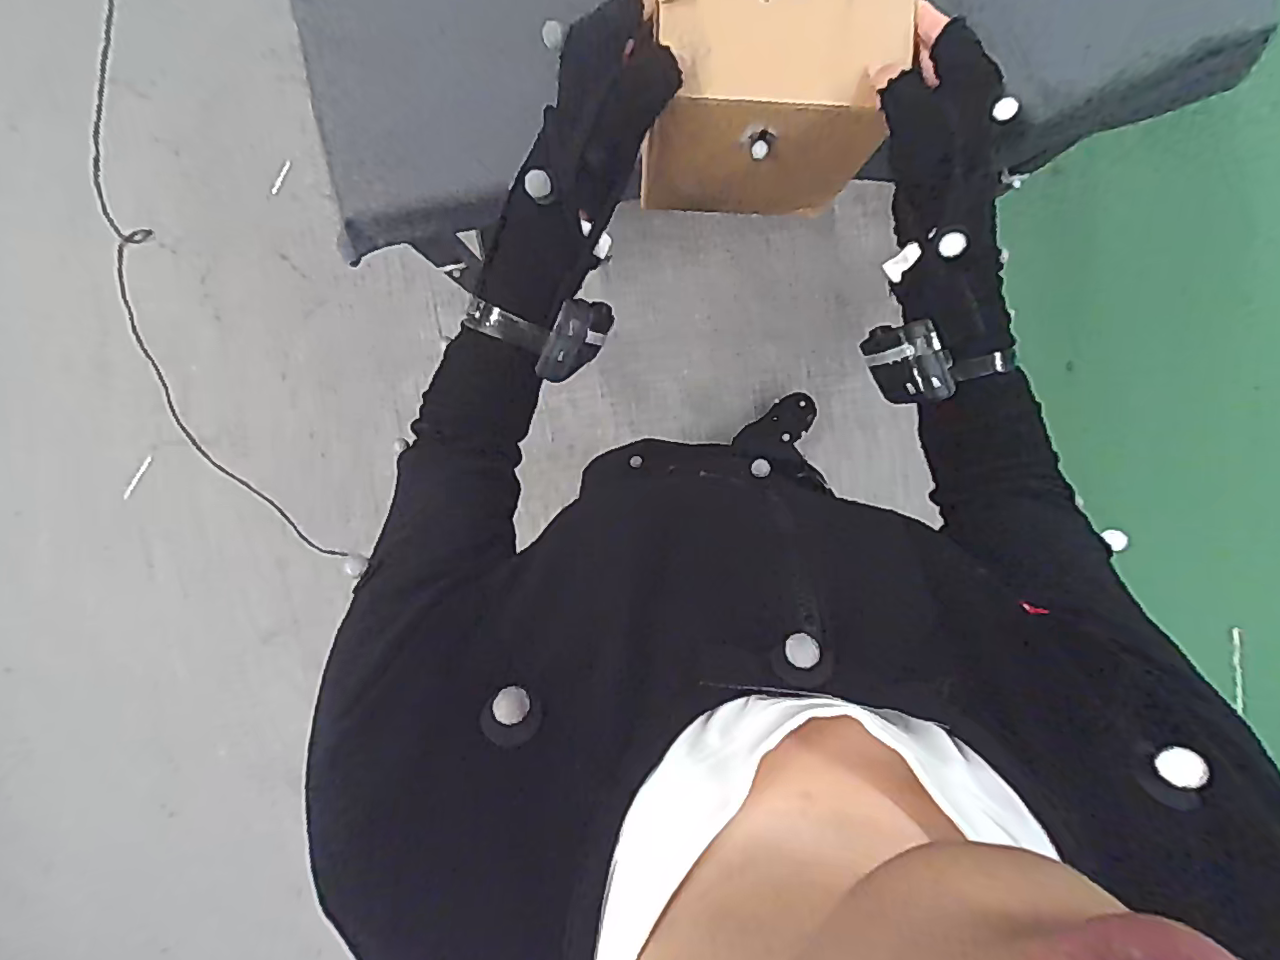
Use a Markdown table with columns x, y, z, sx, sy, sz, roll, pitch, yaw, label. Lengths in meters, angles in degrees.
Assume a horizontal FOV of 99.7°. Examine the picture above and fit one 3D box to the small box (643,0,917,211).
| x | y | z | sx | sy | sz | roll | pitch | yaw | label |
| --- | --- | --- | --- | --- | --- | --- | --- | --- | --- |
| 0.096 | -0.340 | 0.438 | 0.179 | 0.176 | 0.168 | 2 | 92 | -5 | small box |
